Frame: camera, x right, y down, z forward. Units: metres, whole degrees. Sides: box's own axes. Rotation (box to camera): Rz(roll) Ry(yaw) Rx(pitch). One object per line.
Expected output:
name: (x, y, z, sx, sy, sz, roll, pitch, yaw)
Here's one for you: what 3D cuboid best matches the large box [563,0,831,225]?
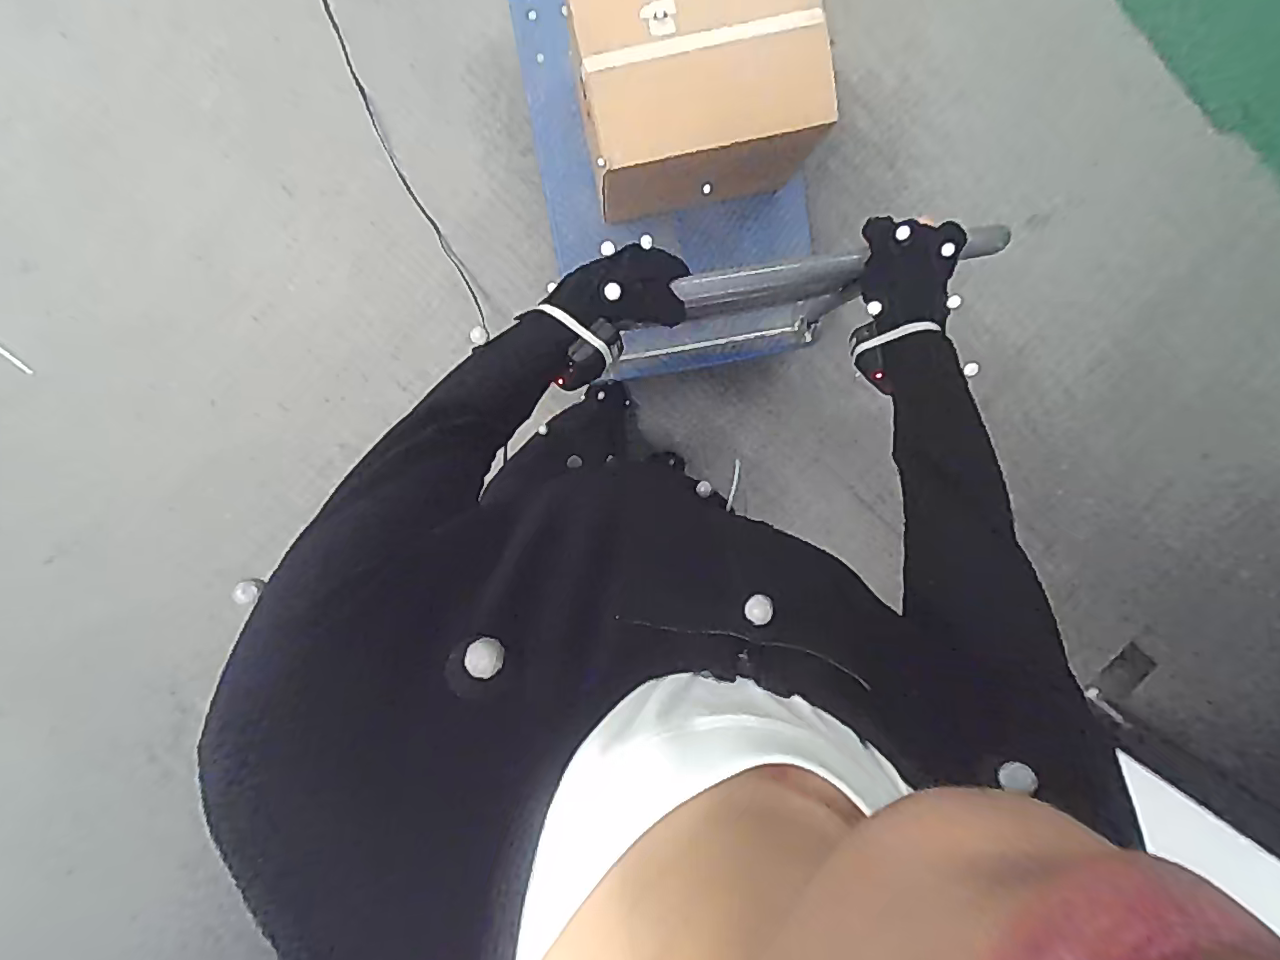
large box: (0.093, -0.729, 1.033, 0.408, 0.320, 0.320, -13, 99, -1)
